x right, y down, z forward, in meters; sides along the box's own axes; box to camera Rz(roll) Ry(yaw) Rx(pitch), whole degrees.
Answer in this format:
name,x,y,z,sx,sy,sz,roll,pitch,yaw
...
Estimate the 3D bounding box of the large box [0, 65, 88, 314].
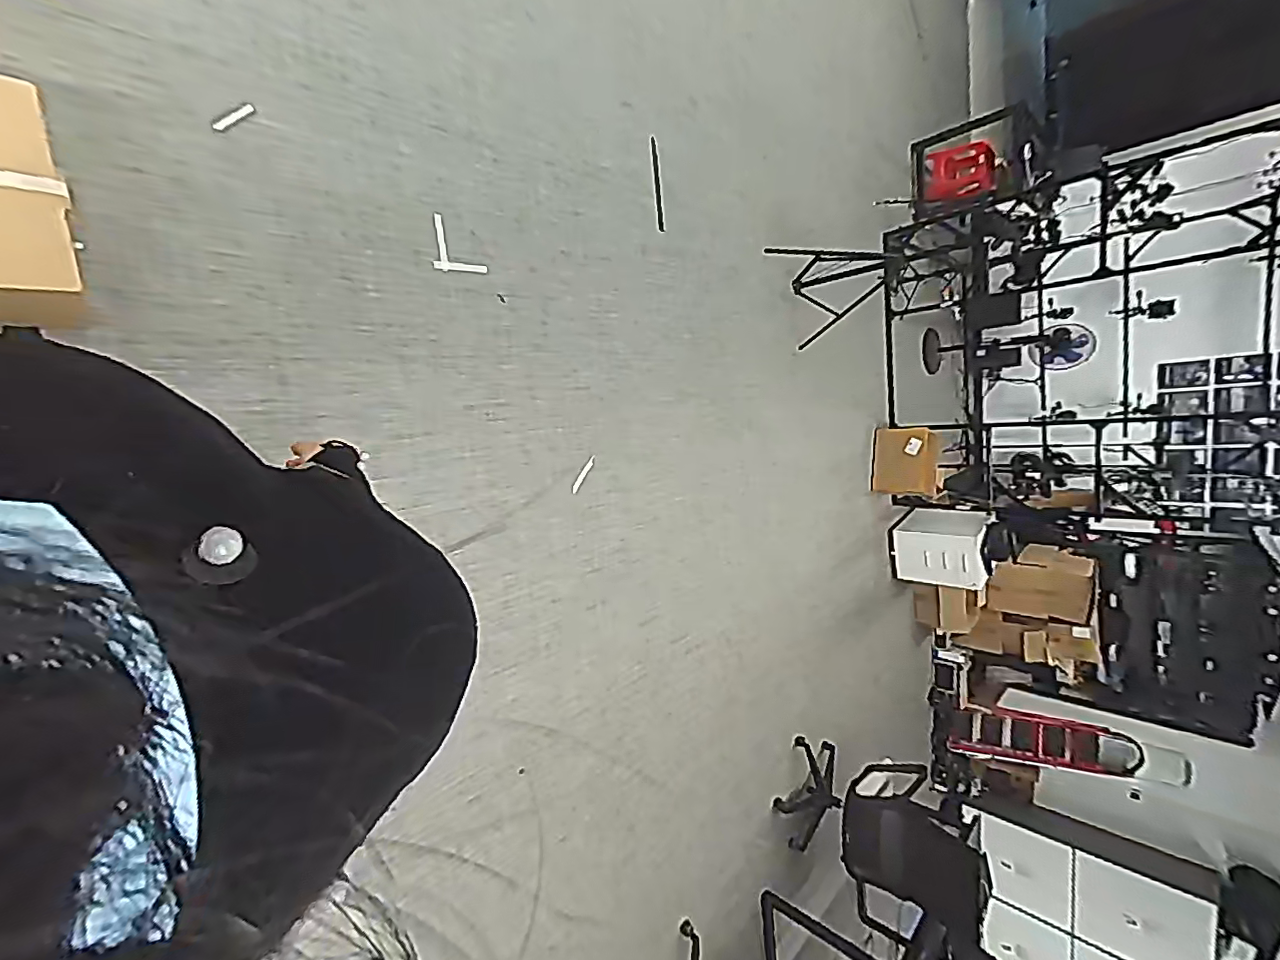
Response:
name,x,y,z,sx,sy,sz,roll,pitch,yaw
large box,-1.150,-0.437,0.811,0.408,0.320,0.320,-13,100,-43
